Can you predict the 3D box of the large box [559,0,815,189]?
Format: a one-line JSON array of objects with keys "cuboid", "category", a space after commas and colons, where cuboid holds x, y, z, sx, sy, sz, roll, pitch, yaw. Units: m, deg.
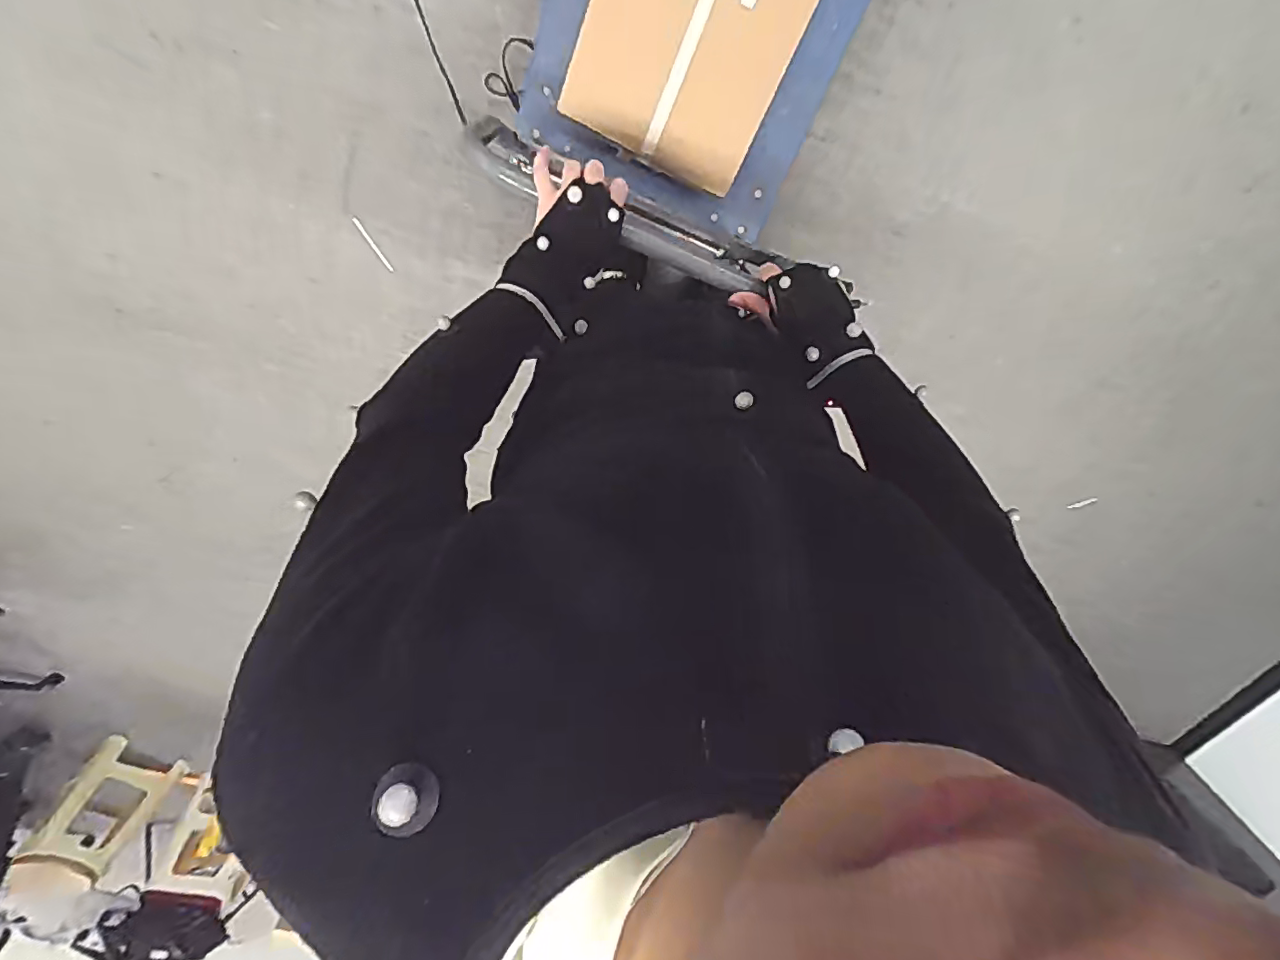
[{"cuboid": [0.081, -0.775, 0.930, 0.320, 0.320, 0.408, 20, 117, -15], "category": "large box"}]
